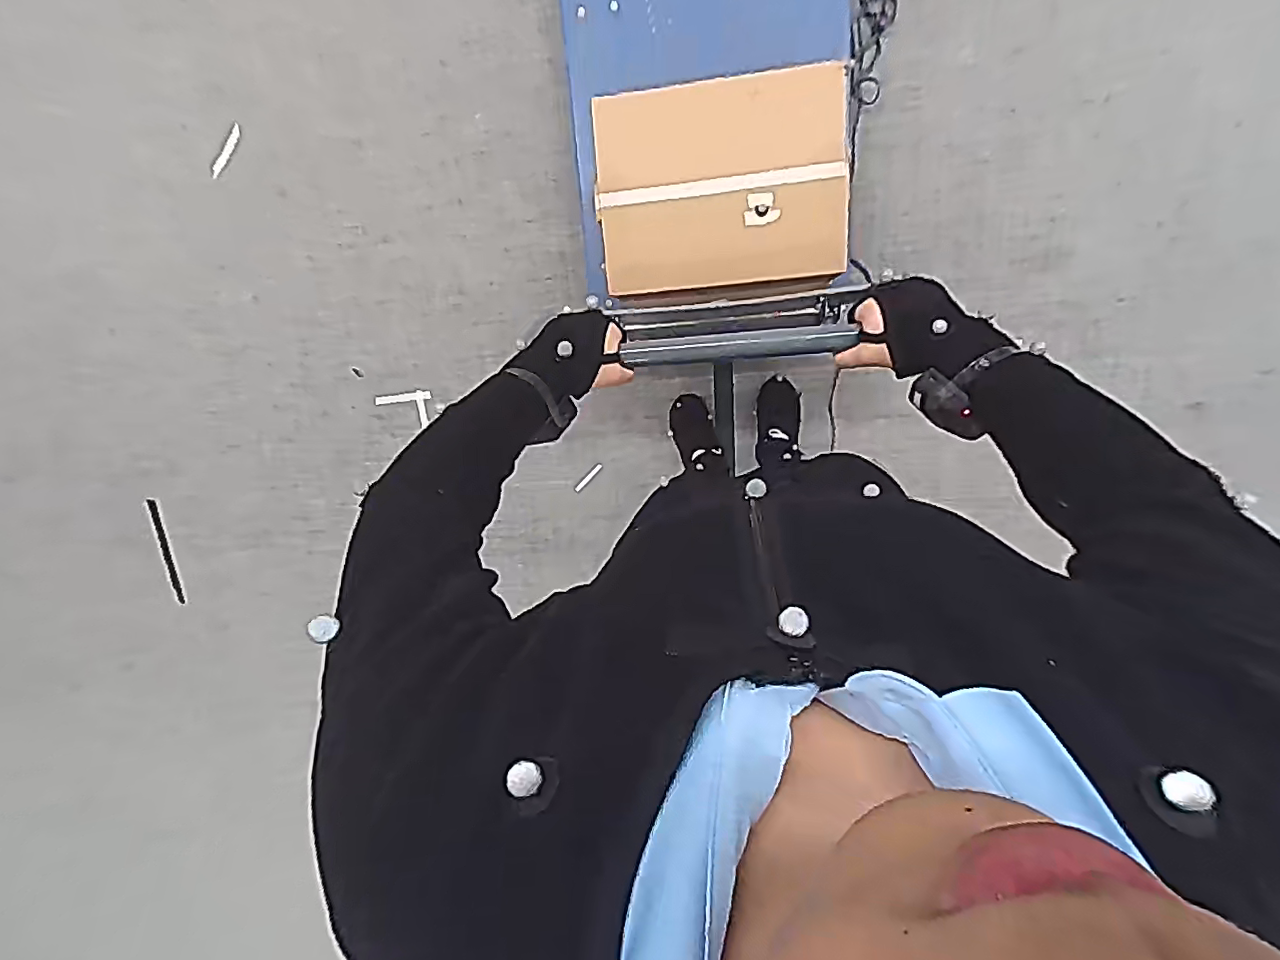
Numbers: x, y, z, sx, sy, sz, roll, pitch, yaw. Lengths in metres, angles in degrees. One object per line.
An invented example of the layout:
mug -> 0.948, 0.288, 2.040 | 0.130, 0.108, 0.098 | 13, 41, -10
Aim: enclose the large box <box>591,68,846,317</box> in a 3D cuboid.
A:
large box -> 0.144, -0.502, 1.031 | 0.408, 0.320, 0.320 | -4, 103, 8
